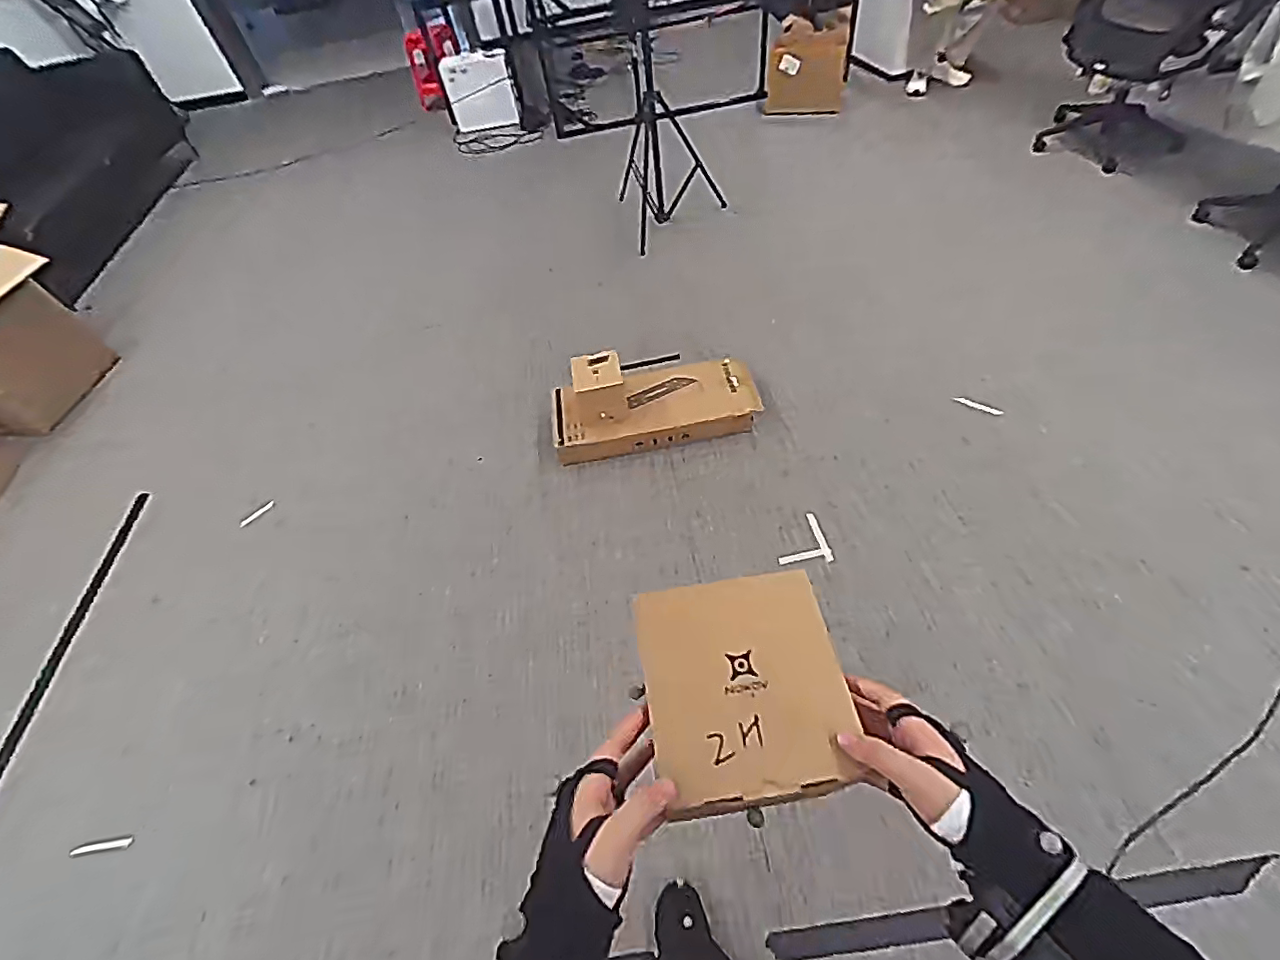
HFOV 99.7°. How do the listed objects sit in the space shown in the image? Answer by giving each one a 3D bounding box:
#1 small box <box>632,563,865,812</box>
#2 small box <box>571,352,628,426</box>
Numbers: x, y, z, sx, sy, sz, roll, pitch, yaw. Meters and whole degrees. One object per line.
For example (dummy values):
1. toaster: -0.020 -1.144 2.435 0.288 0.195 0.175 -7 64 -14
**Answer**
1. small box: 0.085 0.204 0.524 0.168 0.176 0.179 -9 55 -2
2. small box: -0.142 -0.317 1.892 0.168 0.176 0.179 -12 53 0
